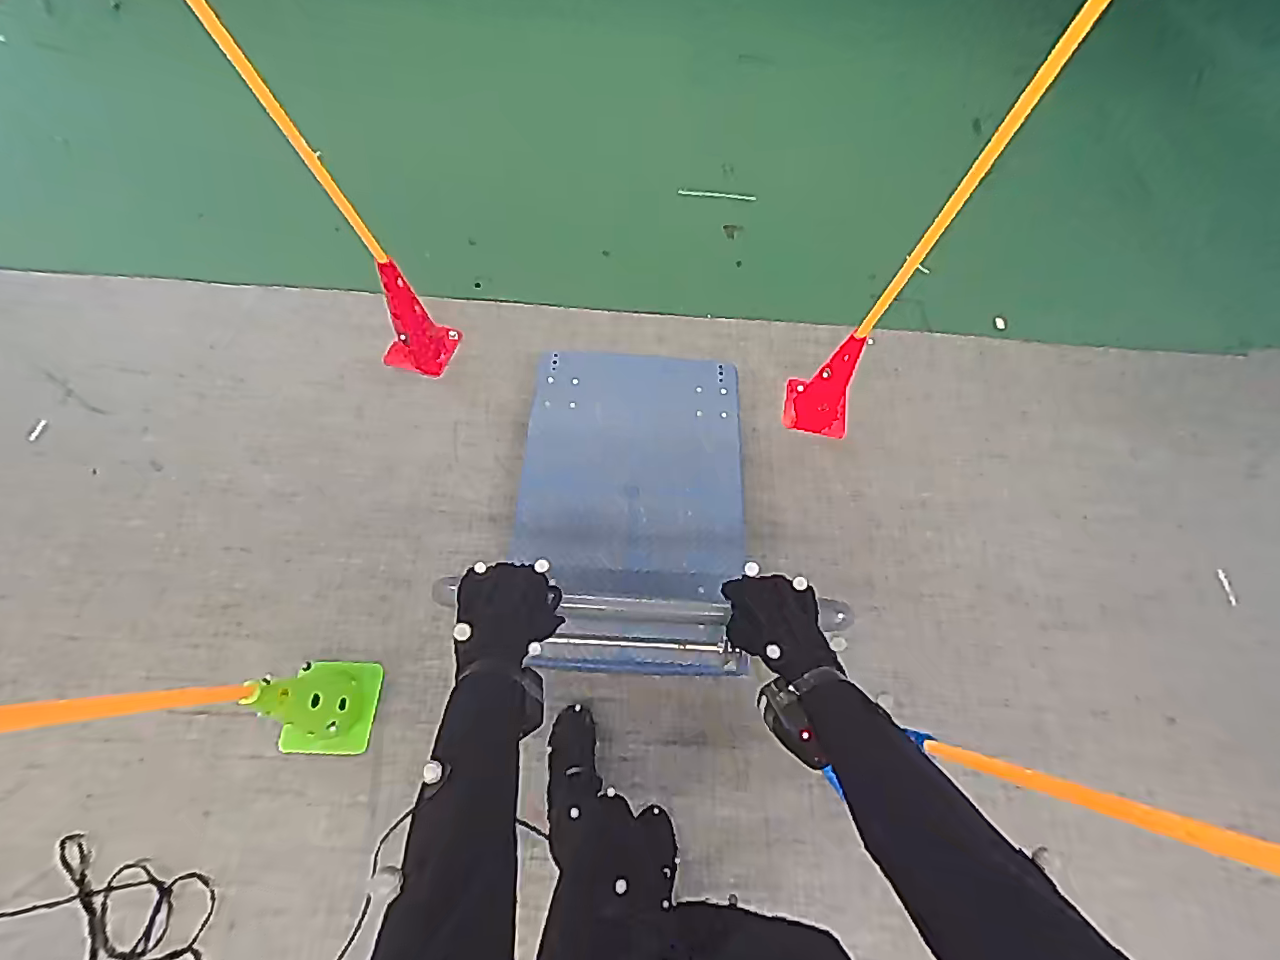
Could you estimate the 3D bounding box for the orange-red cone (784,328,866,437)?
[{"bbox_3d":[0.578,-0.310,1.593,0.198,0.360,0.199,13,64,4],"label":"orange-red cone"}]
